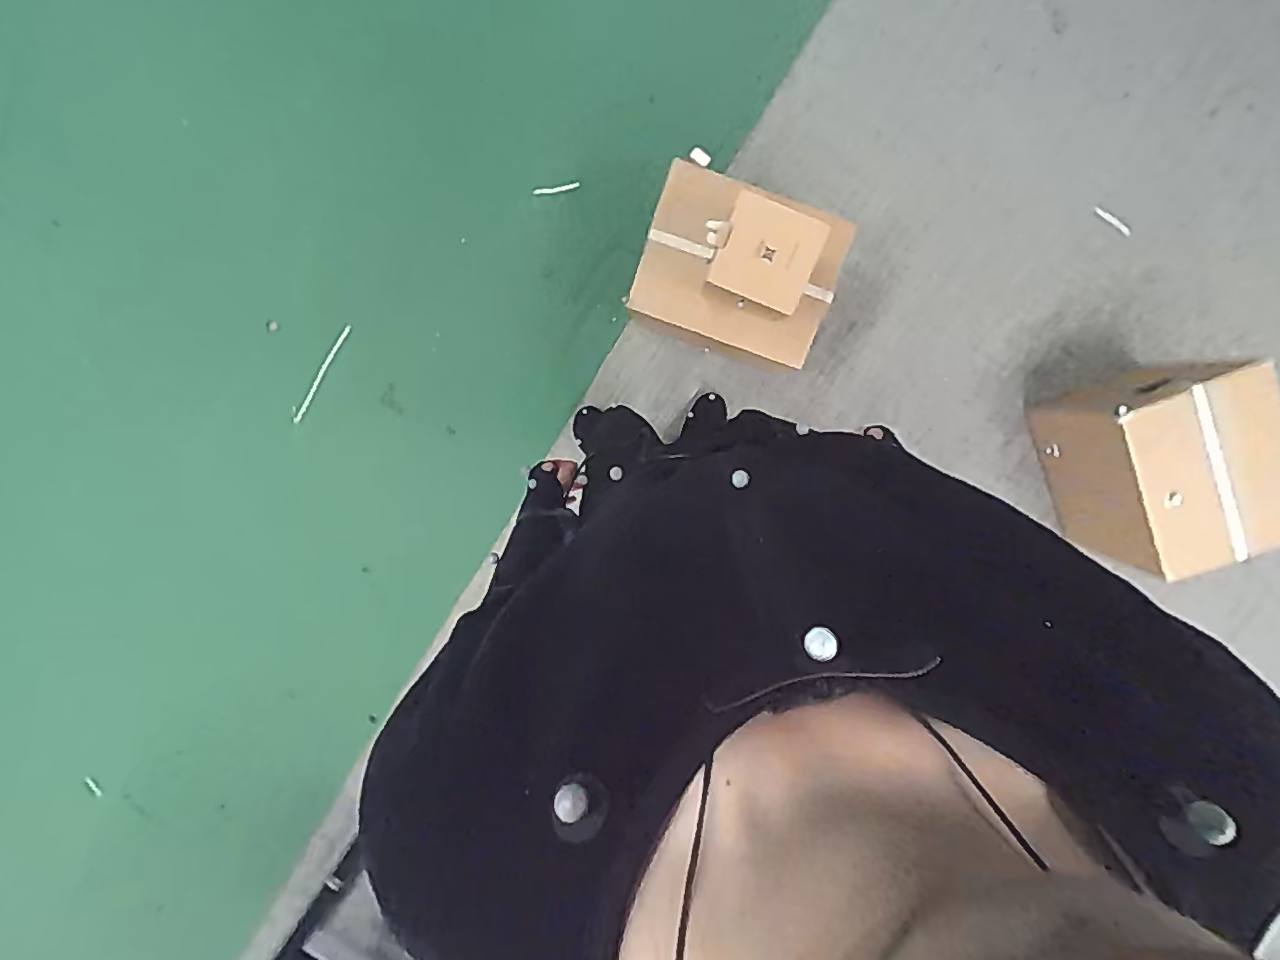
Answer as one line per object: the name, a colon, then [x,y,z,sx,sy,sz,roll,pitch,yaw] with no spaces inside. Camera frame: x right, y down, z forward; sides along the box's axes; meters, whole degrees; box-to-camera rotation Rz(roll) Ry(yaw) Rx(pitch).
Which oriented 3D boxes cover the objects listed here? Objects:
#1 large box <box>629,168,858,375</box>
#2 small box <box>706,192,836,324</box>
large box: [0.224,-0.457,1.272,0.408,0.320,0.320,20,99,1]
small box: [0.235,-0.408,1.029,0.179,0.176,0.168,23,102,-1]
